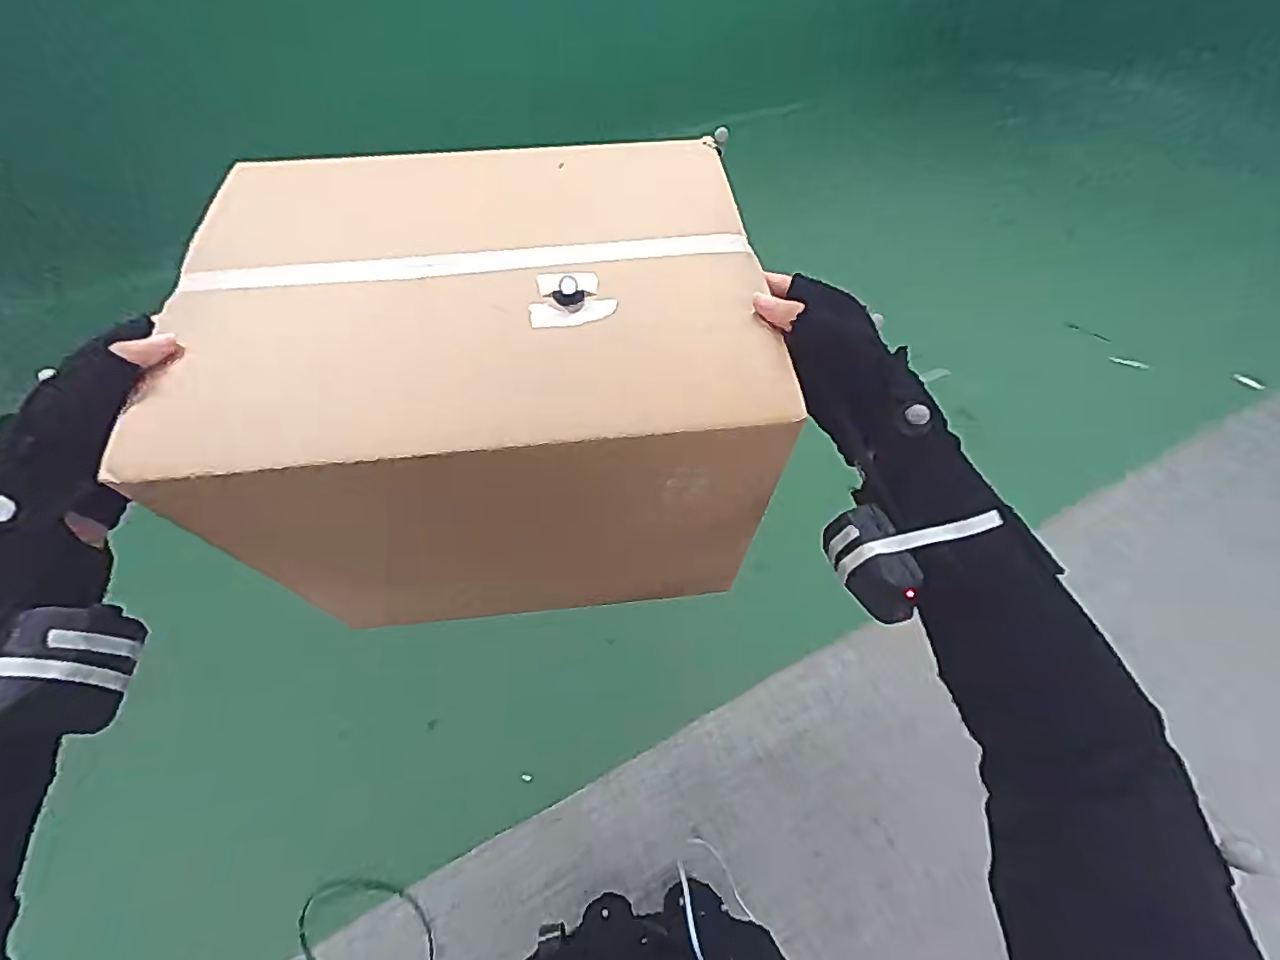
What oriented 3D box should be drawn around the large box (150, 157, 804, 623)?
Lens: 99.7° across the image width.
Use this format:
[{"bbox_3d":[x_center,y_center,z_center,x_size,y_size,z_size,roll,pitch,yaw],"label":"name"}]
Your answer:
[{"bbox_3d":[-0.110,-0.070,0.530,0.408,0.320,0.320,-5,61,-3],"label":"large box"}]
